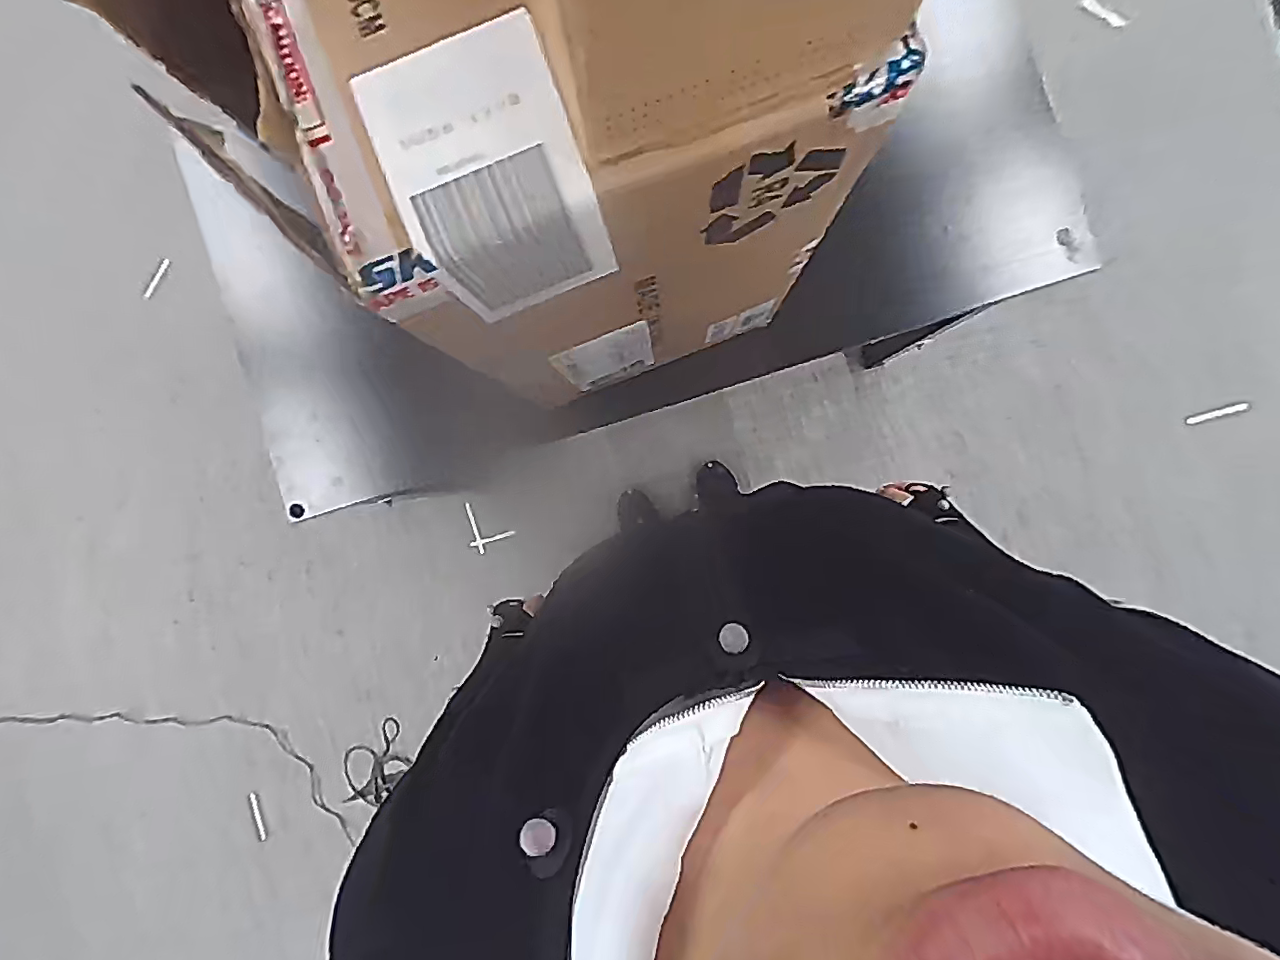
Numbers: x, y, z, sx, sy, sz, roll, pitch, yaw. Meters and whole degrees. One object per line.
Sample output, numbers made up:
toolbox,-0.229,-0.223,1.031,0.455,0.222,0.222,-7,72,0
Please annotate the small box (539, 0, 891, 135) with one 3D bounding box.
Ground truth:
small box,0.022,-0.279,0.207,0.179,0.176,0.168,-21,91,3
